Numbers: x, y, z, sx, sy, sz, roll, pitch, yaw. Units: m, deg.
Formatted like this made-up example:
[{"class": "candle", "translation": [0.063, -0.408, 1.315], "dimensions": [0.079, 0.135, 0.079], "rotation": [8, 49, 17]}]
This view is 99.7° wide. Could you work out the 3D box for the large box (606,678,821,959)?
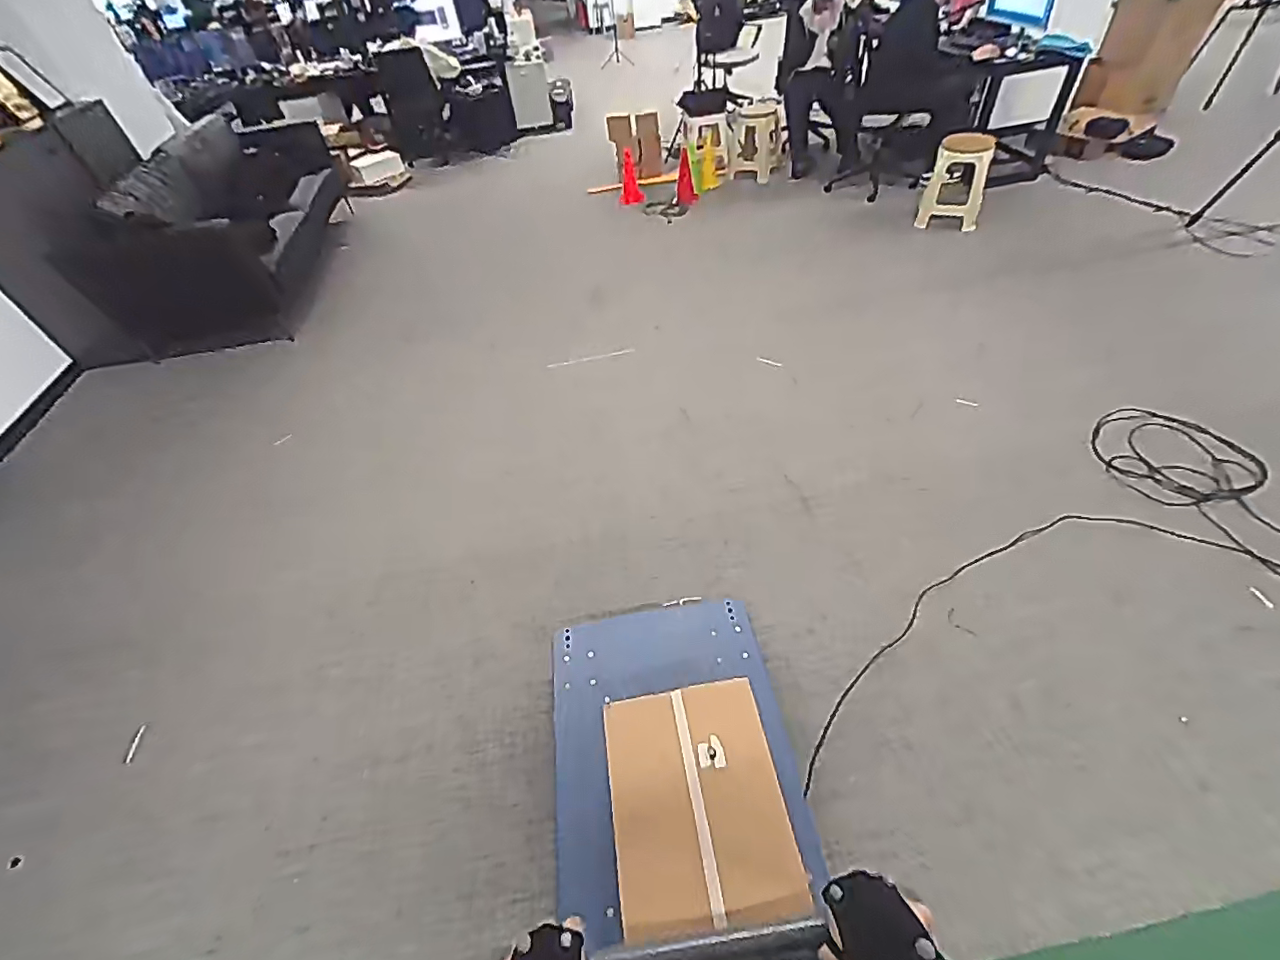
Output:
[{"class": "large box", "translation": [0.125, 0.682, 1.088], "dimensions": [0.320, 0.320, 0.408], "rotation": [-10, 44, -2]}]
